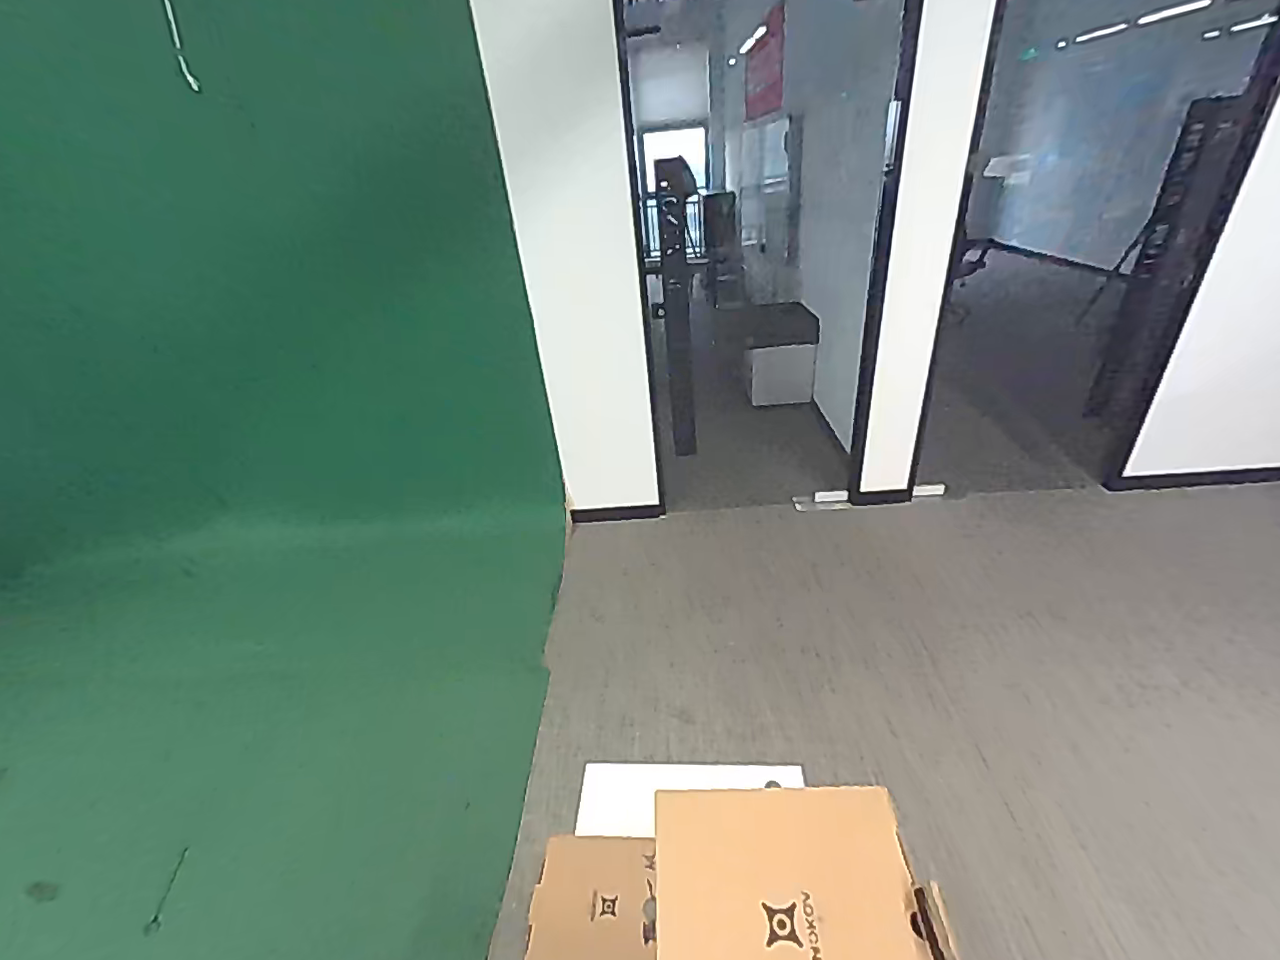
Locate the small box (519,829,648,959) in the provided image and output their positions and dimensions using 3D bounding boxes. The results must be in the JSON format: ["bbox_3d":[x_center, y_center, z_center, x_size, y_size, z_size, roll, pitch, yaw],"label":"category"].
[{"bbox_3d":[-0.046,0.602,0.726,0.179,0.176,0.168,-2,31,5],"label":"small box"}]

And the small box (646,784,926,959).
[{"bbox_3d":[0.098,0.348,0.406,0.179,0.176,0.168,-3,42,4],"label":"small box"}]
